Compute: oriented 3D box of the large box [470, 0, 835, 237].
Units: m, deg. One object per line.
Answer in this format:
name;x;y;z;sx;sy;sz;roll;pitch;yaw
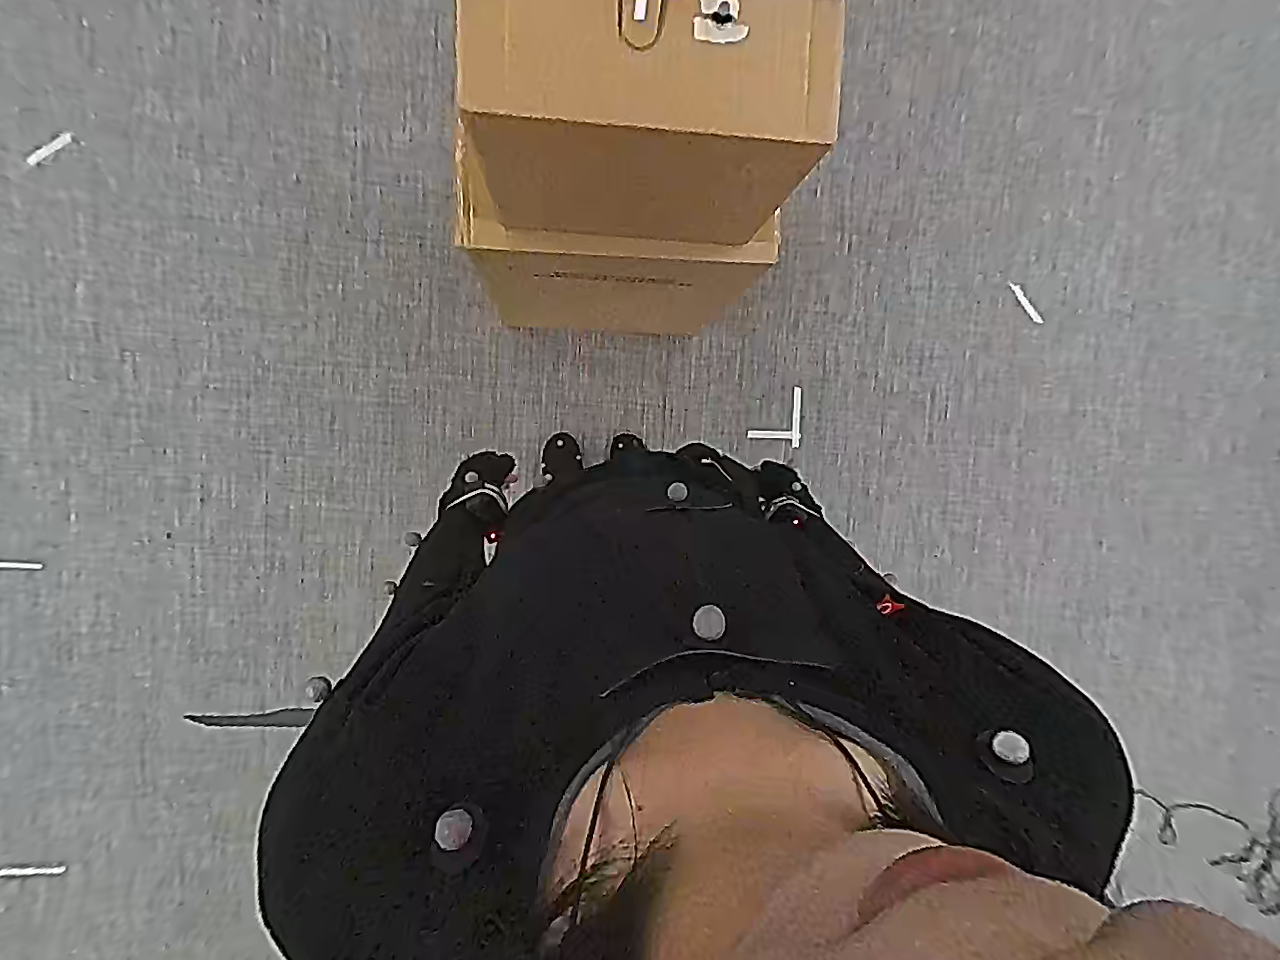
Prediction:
large box;0.001;-0.545;0.723;0.408;0.320;0.320;0;94;-8
